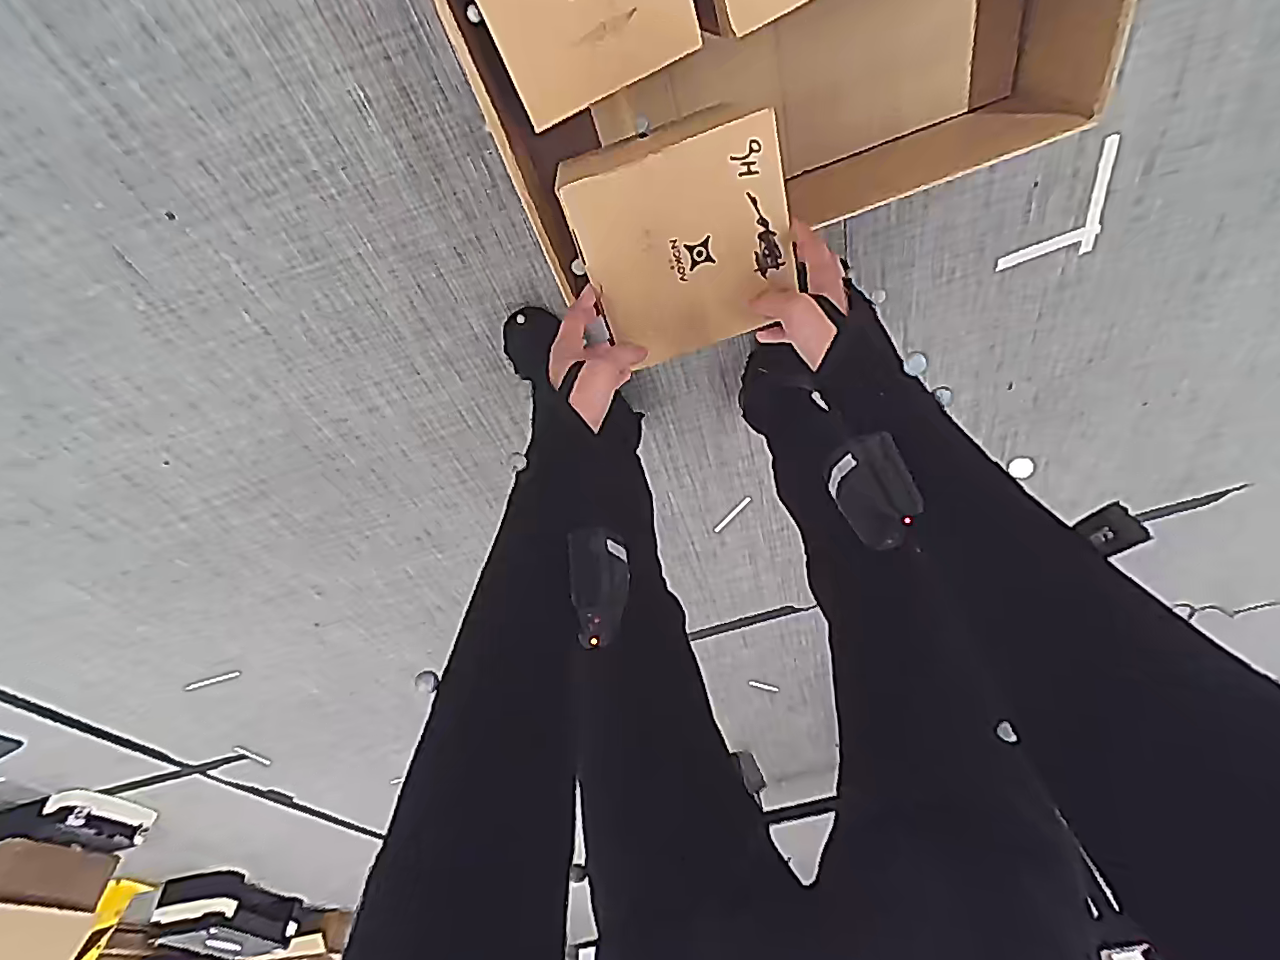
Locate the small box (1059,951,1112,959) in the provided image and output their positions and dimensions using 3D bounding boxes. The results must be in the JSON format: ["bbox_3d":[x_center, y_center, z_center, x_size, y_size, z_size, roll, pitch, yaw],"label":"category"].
[{"bbox_3d":[1.432,1.618,1.708,0.168,0.176,0.179,-13,133,2],"label":"small box"}]

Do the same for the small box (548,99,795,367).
[{"bbox_3d":[0.027,-0.236,0.512,0.179,0.176,0.168,-18,126,6],"label":"small box"}]
